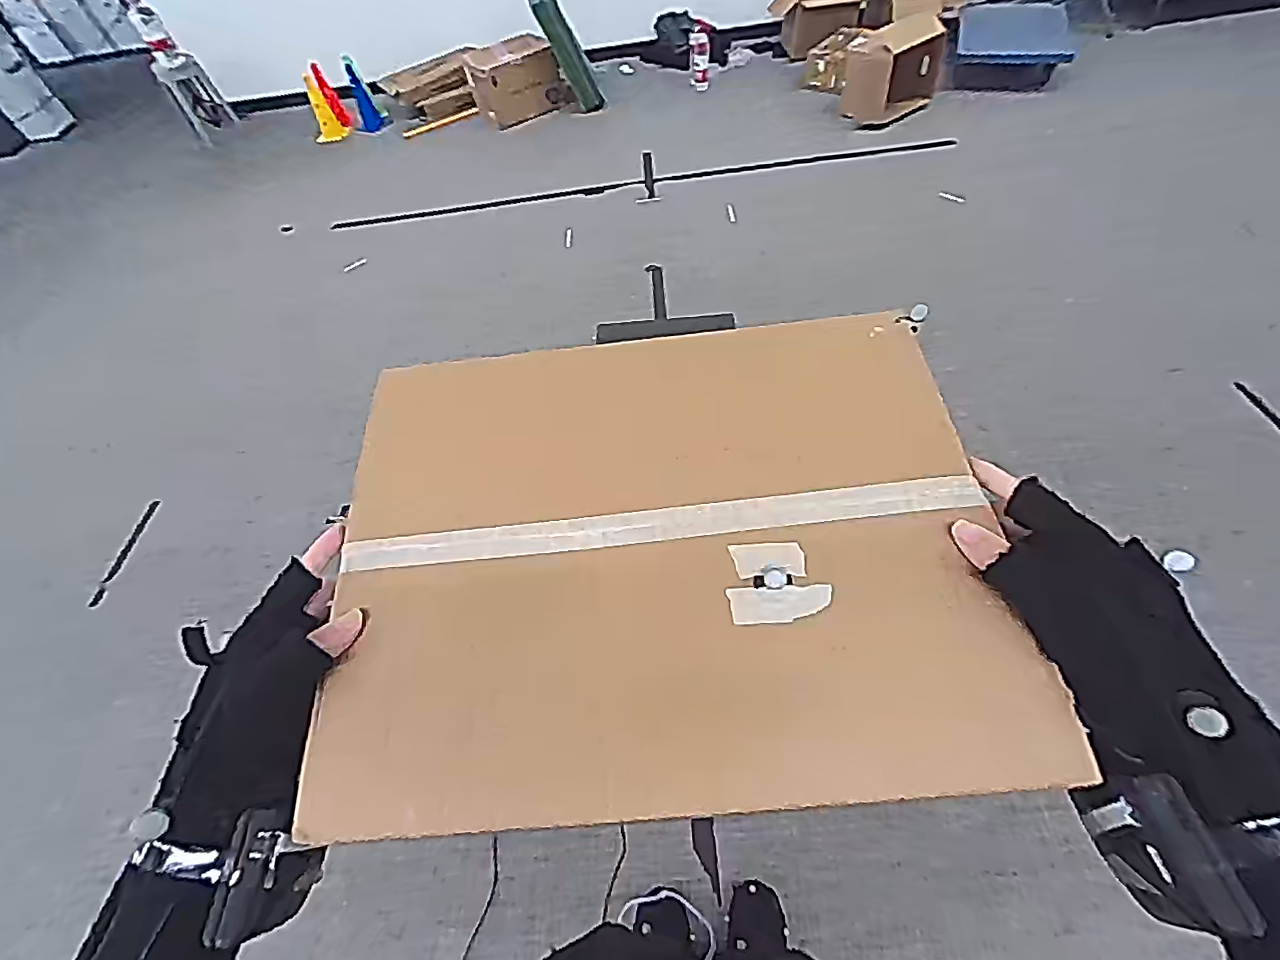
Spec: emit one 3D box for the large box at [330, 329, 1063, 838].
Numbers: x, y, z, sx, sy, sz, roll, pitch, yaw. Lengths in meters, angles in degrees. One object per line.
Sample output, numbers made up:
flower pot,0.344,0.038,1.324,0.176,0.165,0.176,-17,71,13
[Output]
large box,0.025,0.107,0.488,0.408,0.320,0.320,-6,62,2
